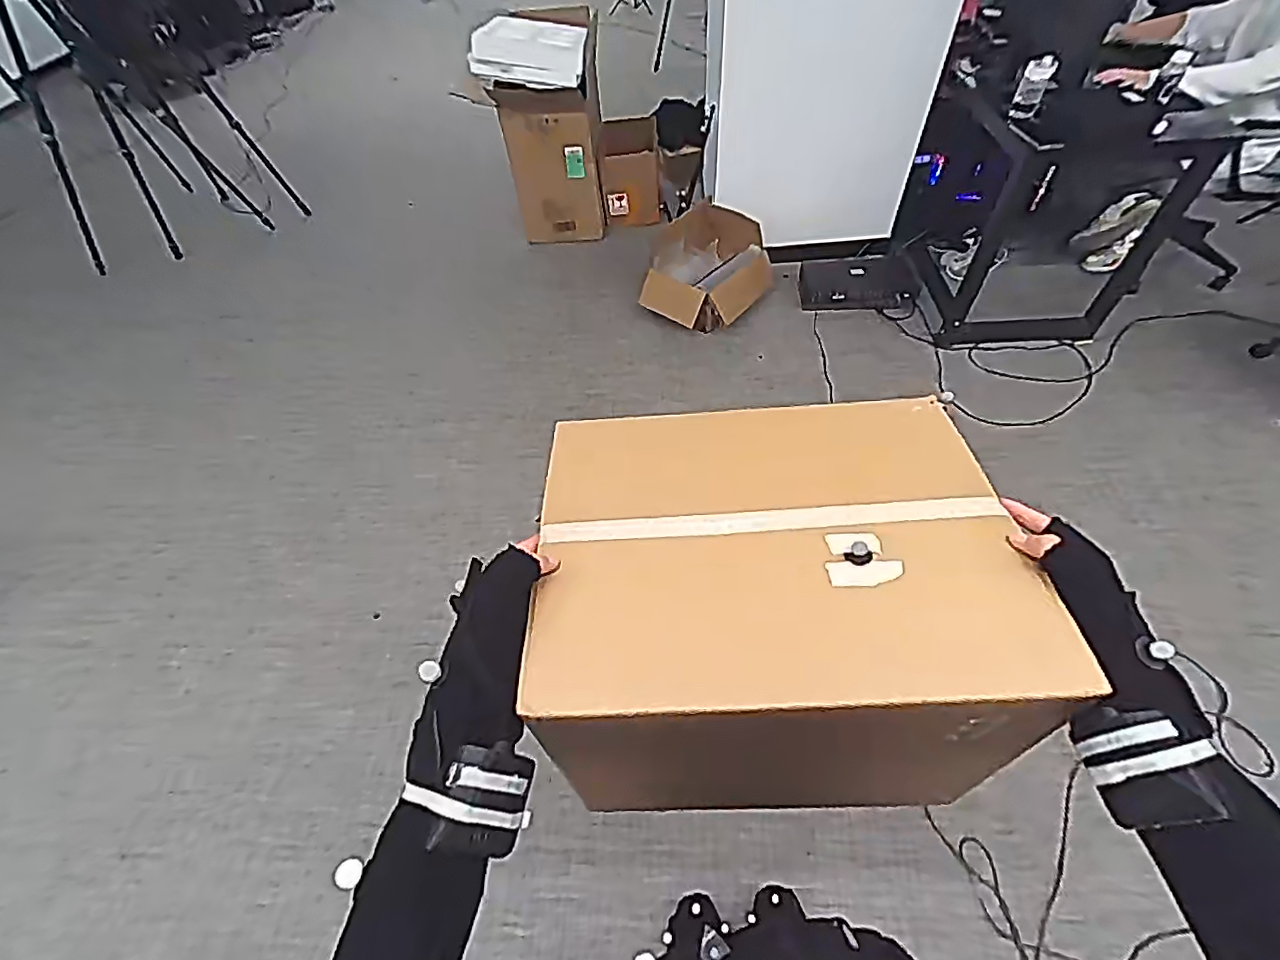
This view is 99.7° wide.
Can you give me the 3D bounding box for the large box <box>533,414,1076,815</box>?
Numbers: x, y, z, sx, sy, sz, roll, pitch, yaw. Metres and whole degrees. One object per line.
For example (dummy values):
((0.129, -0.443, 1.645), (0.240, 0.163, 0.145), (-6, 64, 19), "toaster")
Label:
((0.123, 0.154, 0.600), (0.408, 0.320, 0.320), (-4, 47, 3), "large box")
